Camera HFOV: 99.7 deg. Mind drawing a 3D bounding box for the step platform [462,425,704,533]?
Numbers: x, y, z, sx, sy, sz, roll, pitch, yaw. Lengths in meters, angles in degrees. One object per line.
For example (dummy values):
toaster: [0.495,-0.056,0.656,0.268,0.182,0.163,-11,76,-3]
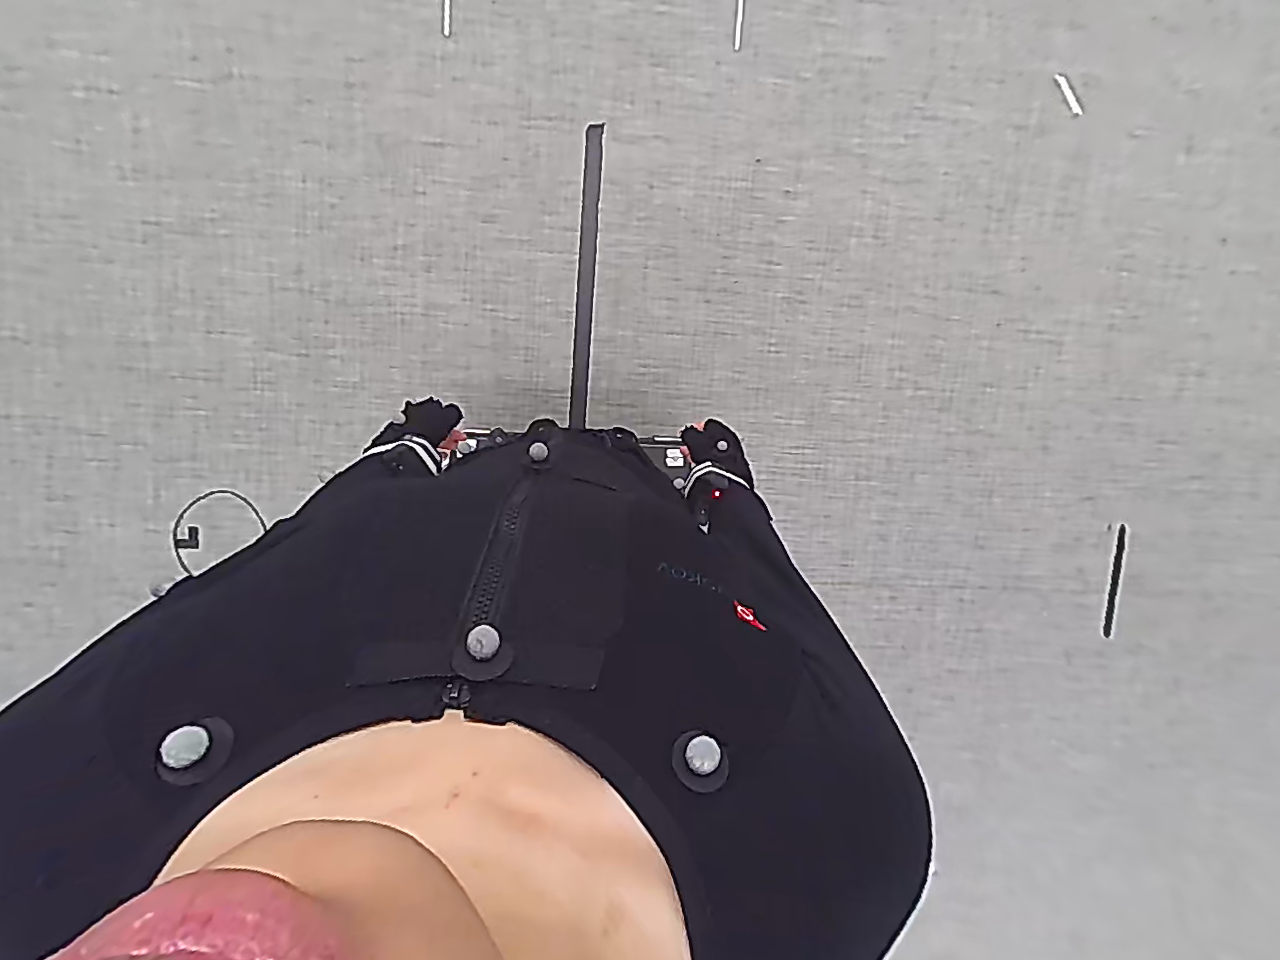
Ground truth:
step platform: [-0.158,-0.004,1.570,0.684,0.204,0.286,1,98,-5]
